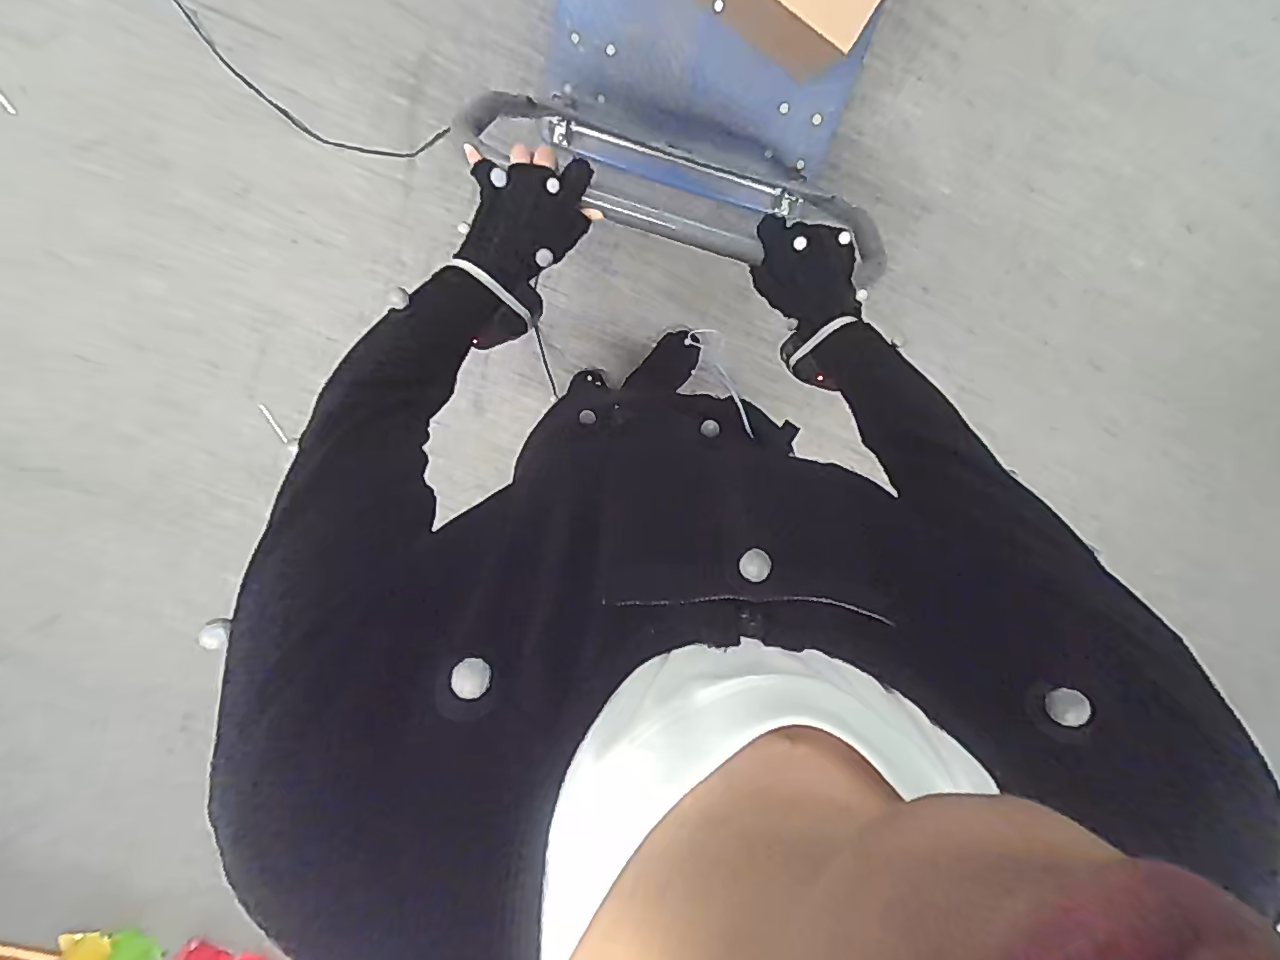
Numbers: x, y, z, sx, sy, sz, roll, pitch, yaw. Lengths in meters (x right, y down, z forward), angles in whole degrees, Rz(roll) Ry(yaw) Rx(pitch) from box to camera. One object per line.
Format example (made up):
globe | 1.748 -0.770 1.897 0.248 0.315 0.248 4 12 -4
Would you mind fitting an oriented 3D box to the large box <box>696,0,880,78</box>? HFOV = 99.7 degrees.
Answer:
large box | 0.210 -0.888 0.801 0.408 0.320 0.320 28 118 -12
